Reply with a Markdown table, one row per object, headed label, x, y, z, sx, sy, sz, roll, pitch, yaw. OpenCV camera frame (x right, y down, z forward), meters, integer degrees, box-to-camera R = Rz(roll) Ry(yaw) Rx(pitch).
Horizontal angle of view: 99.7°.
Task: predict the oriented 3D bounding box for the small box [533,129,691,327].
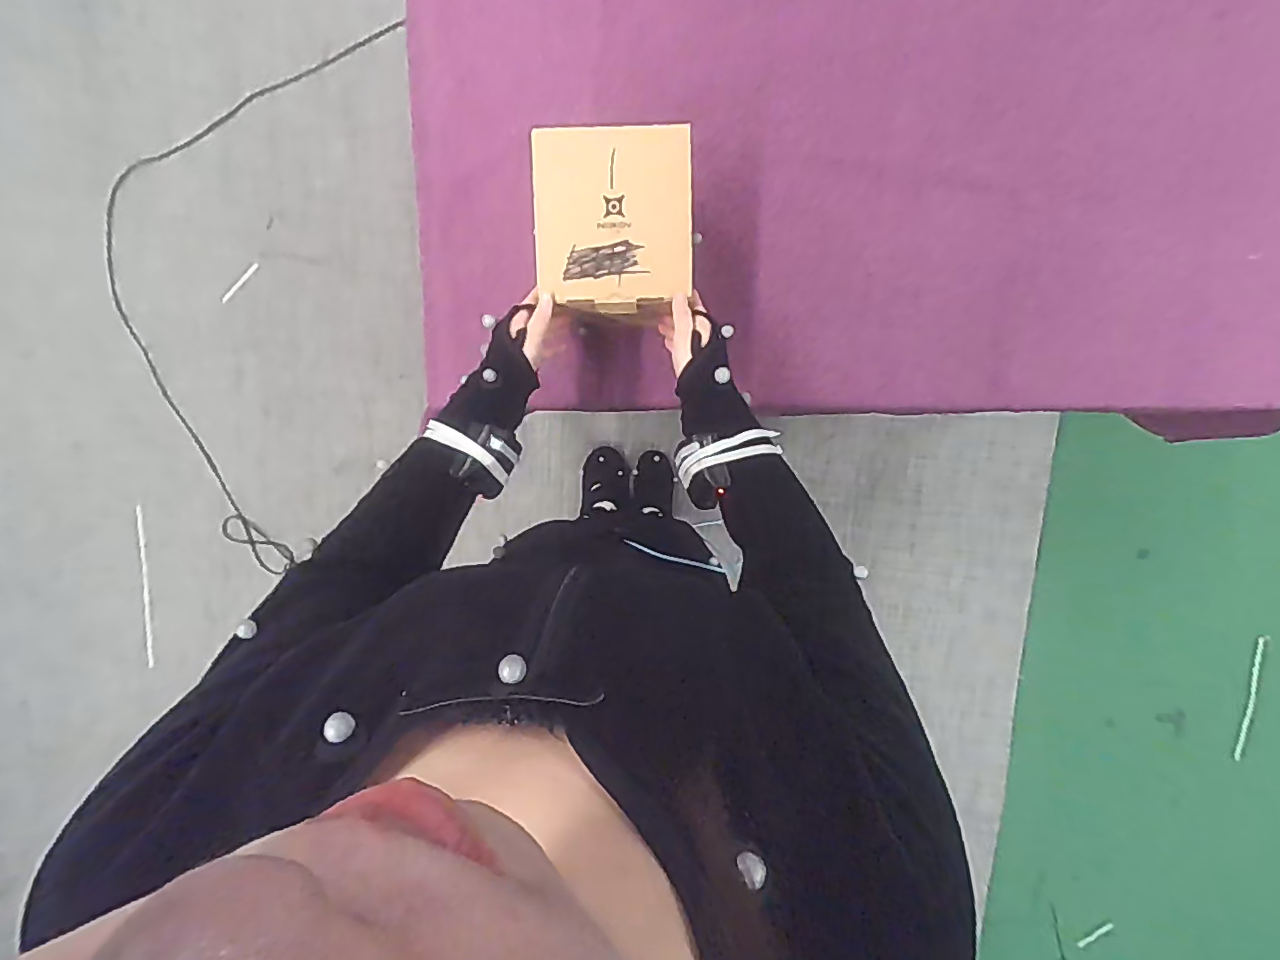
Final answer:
| label | x | y | z | sx | sy | sz | roll | pitch | yaw |
| --- | --- | --- | --- | --- | --- | --- | --- | --- | --- |
| small box | -0.027 | -0.281 | 0.641 | 0.168 | 0.176 | 0.179 | -1 | 96 | 1 |
